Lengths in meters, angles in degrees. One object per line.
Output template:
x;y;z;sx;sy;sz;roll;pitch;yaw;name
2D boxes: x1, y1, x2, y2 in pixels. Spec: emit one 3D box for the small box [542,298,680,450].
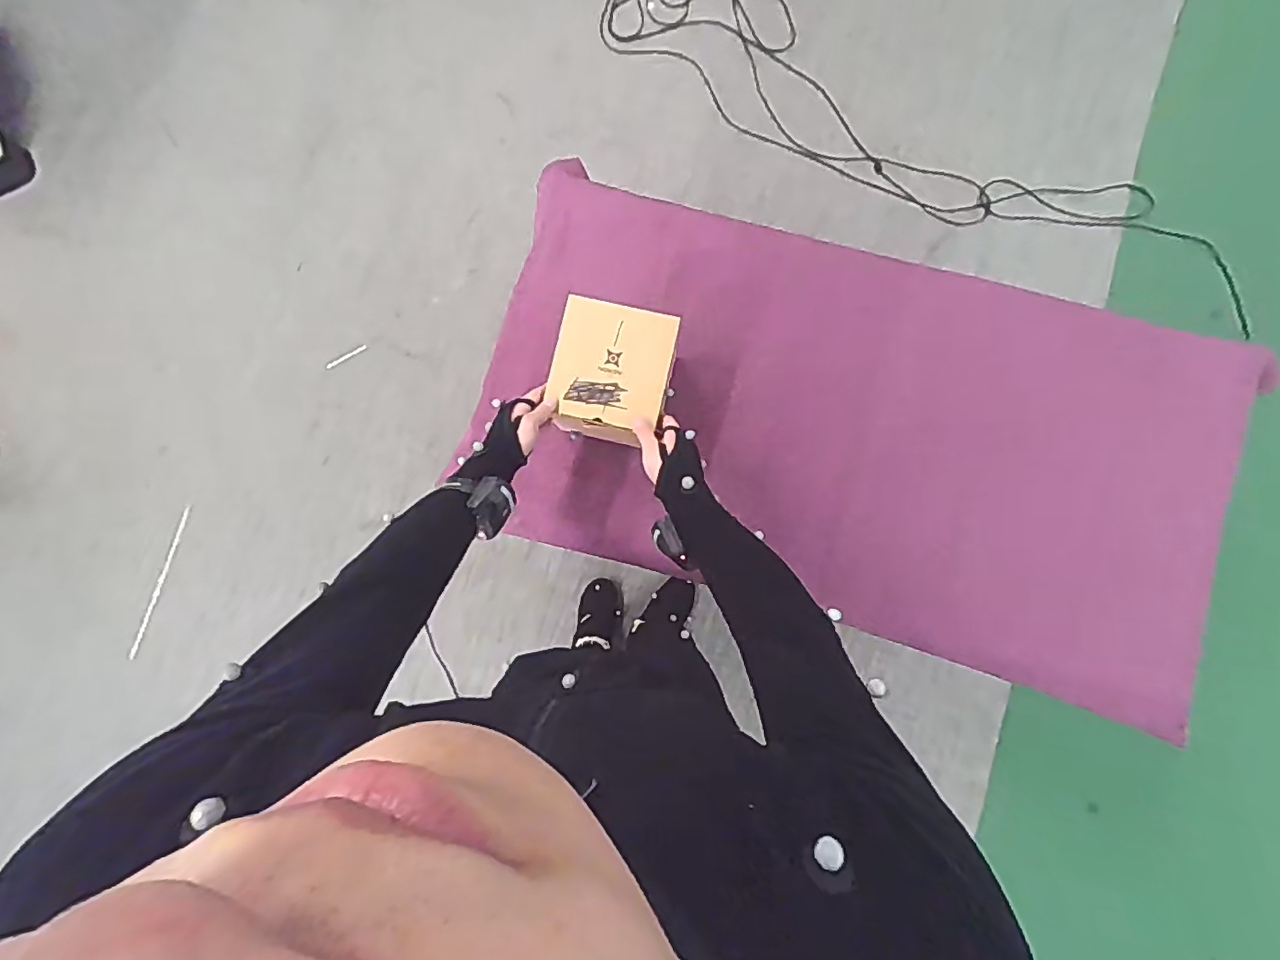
-0.038;-0.153;0.841;0.168;0.176;0.179;13;85;2;small box
